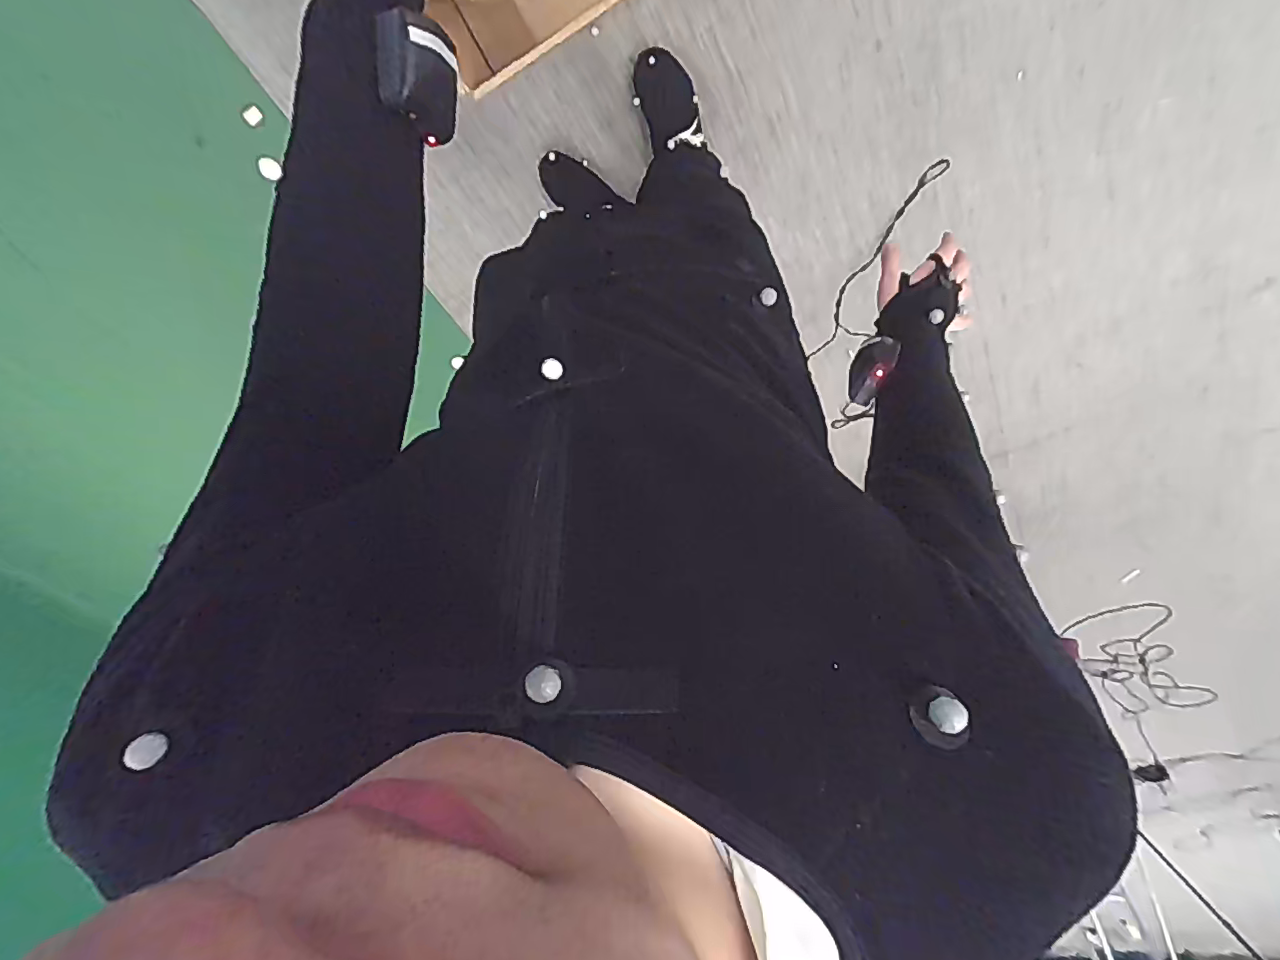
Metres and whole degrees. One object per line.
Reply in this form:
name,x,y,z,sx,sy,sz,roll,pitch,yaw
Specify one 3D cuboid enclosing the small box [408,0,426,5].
small box,-0.203,-0.516,0.422,0.168,0.176,0.179,-13,126,18
